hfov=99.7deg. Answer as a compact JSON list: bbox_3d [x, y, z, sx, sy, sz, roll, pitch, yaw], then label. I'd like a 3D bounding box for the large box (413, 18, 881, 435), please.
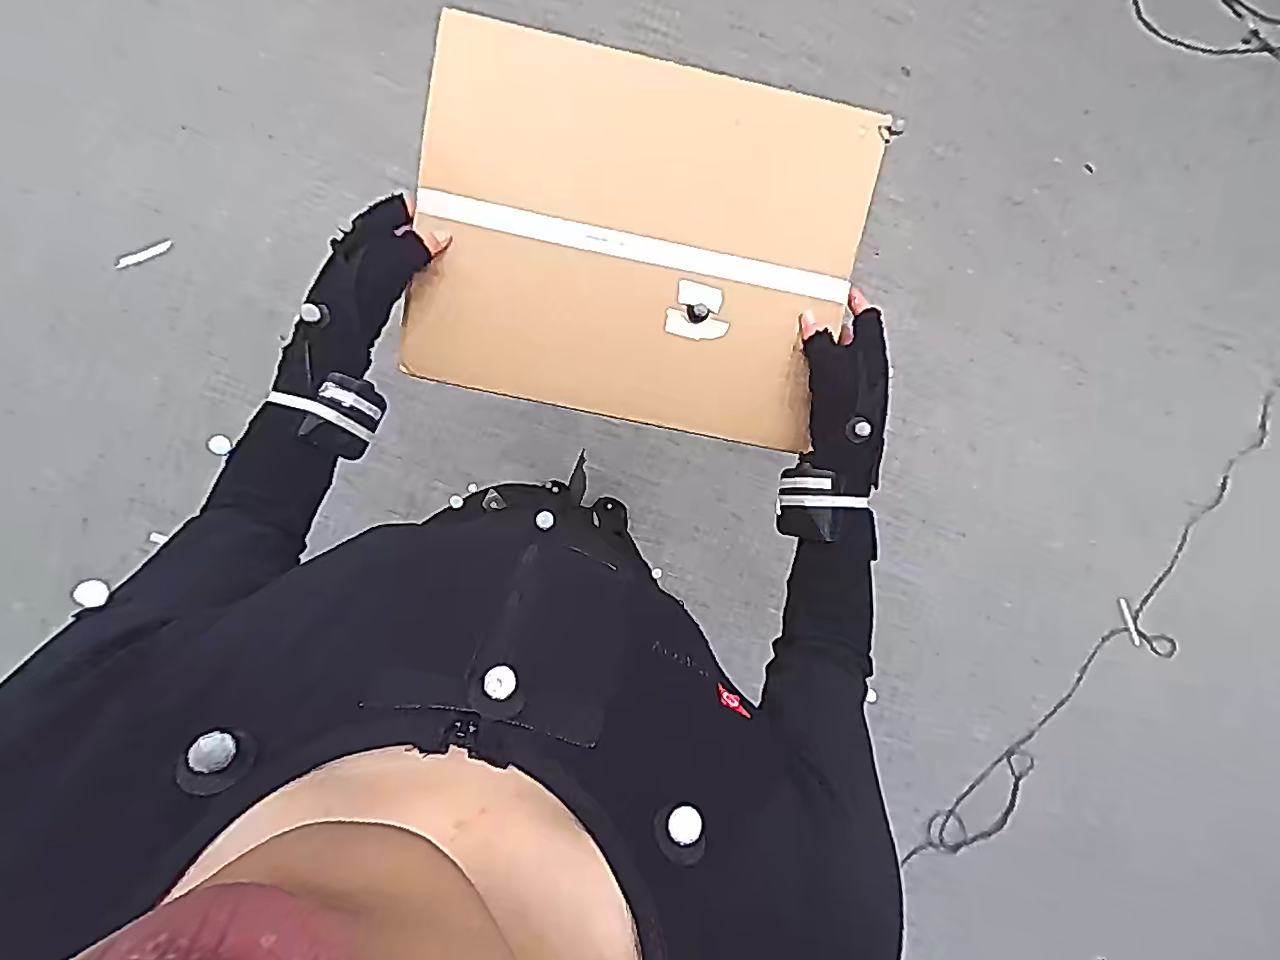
[{"bbox_3d":[-0.006,-0.249,0.651,0.408,0.320,0.320,10,100,-4],"label":"large box"}]
